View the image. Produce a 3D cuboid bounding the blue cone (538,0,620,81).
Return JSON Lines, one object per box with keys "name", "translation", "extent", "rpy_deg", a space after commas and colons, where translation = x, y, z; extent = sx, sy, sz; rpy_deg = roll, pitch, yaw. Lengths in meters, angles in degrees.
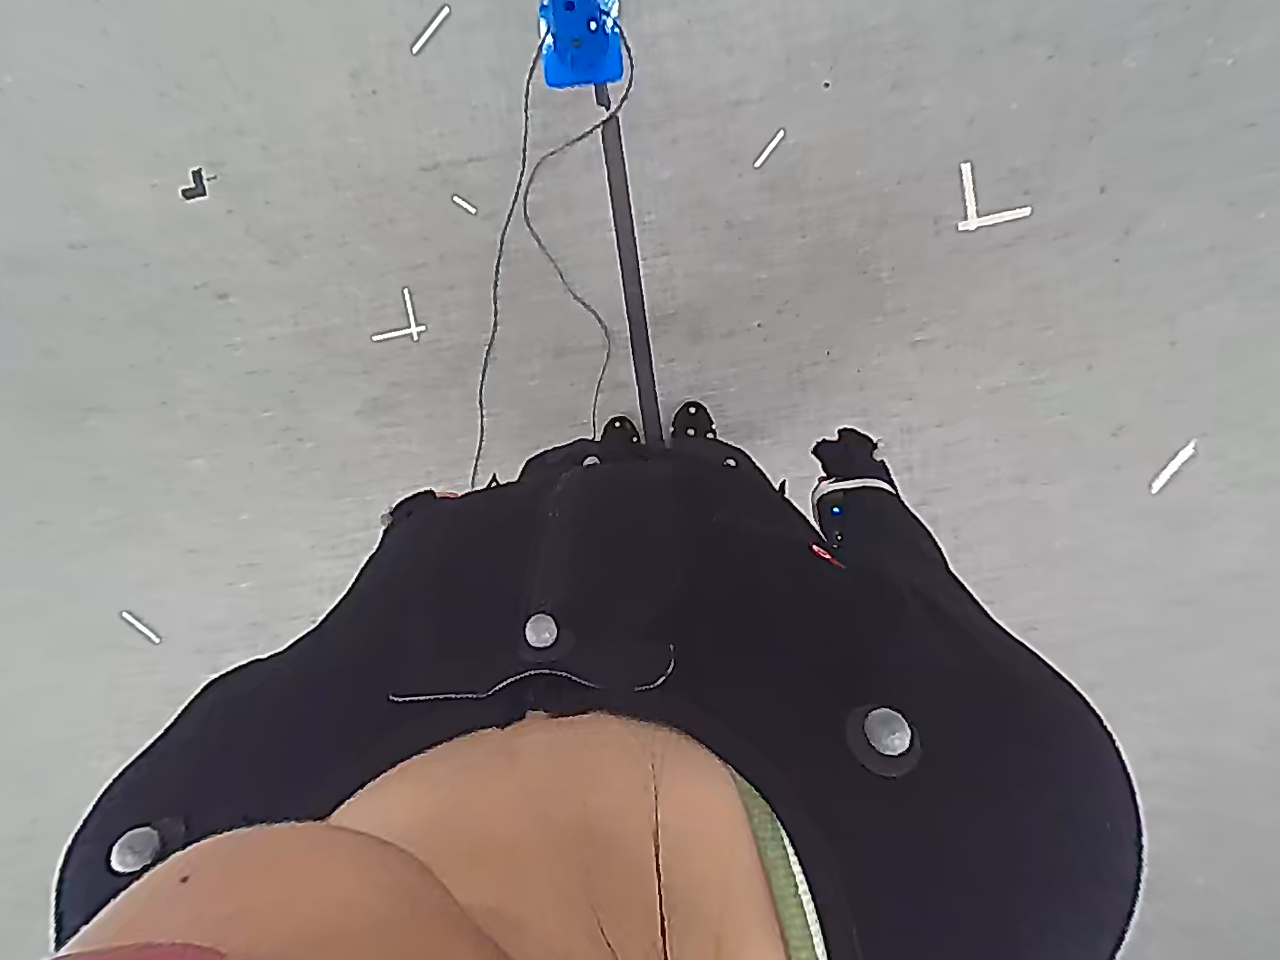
{"name": "blue cone", "translation": [-0.157, -1.060, 1.156], "extent": [0.193, 0.380, 0.192], "rpy_deg": [-5, 98, 4]}
